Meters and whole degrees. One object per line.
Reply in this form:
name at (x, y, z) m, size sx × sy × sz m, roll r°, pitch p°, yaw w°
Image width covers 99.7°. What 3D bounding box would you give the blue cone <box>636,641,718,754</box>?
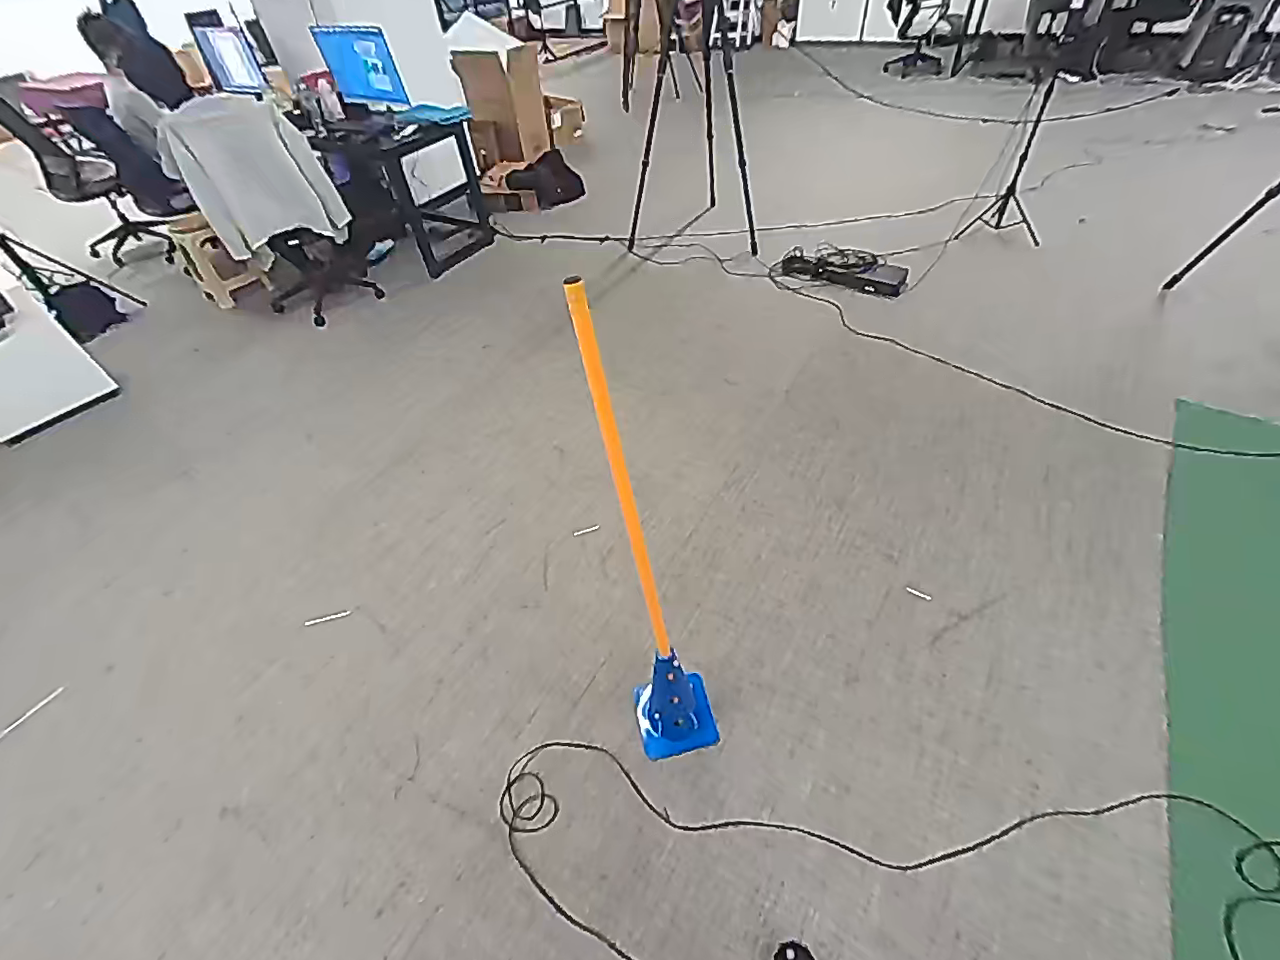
blue cone at (0.075, 0.508, 1.334) m, size 0.192 × 0.380 × 0.193 m, roll -14°, pitch 44°, yaw -5°
